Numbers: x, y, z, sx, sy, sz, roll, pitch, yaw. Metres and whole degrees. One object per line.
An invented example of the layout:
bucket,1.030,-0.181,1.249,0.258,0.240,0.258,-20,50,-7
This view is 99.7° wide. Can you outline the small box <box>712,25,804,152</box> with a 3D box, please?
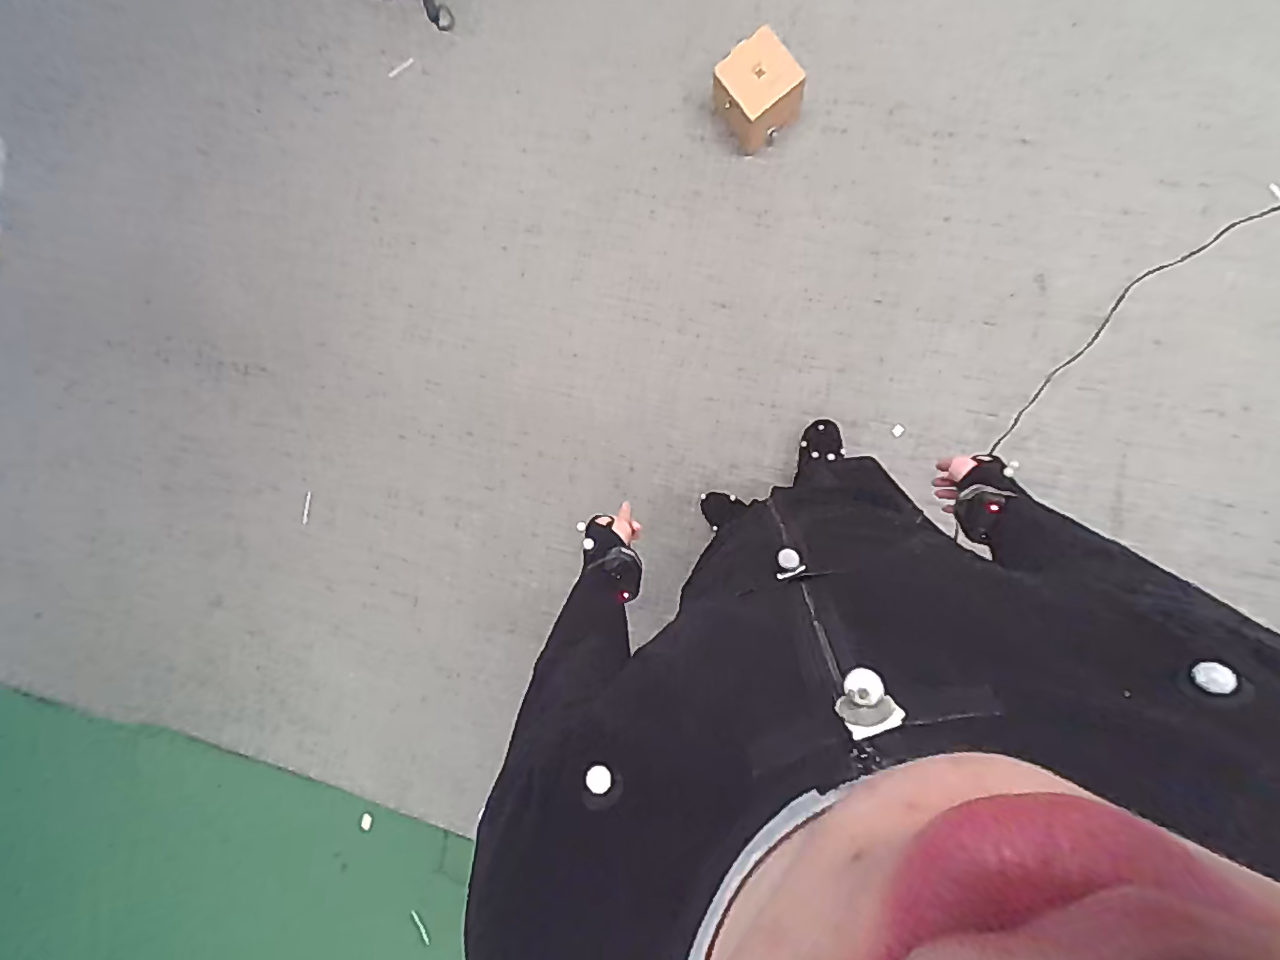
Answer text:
small box,0.306,-1.023,1.433,0.168,0.176,0.179,-36,87,10
